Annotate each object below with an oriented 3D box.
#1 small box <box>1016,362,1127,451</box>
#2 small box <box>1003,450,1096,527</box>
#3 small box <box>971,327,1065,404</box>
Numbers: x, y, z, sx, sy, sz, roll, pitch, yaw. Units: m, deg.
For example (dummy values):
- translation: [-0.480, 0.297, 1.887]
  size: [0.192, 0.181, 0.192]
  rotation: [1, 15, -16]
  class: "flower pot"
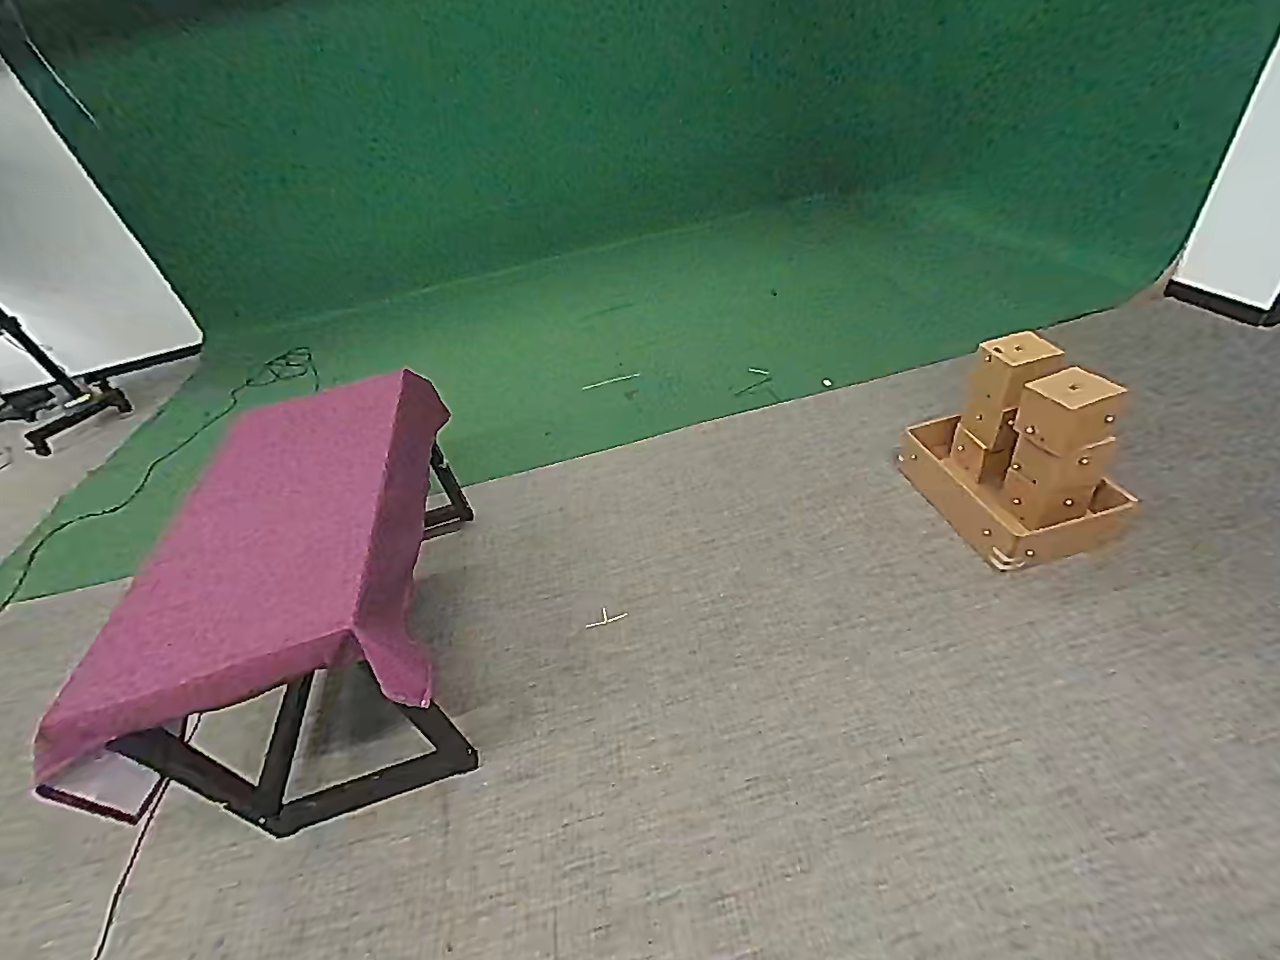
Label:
- translation: [1.250, -0.214, 1.584]
  size: [0.179, 0.176, 0.168]
  rotation: [-19, 38, -4]
  class: "small box"
- translation: [1.339, 0.030, 1.785]
  size: [0.179, 0.176, 0.168]
  rotation: [-16, 39, -1]
  class: "small box"
- translation: [1.231, -0.374, 1.776]
  size: [0.179, 0.176, 0.168]
  rotation: [-15, 39, -1]
  class: "small box"
